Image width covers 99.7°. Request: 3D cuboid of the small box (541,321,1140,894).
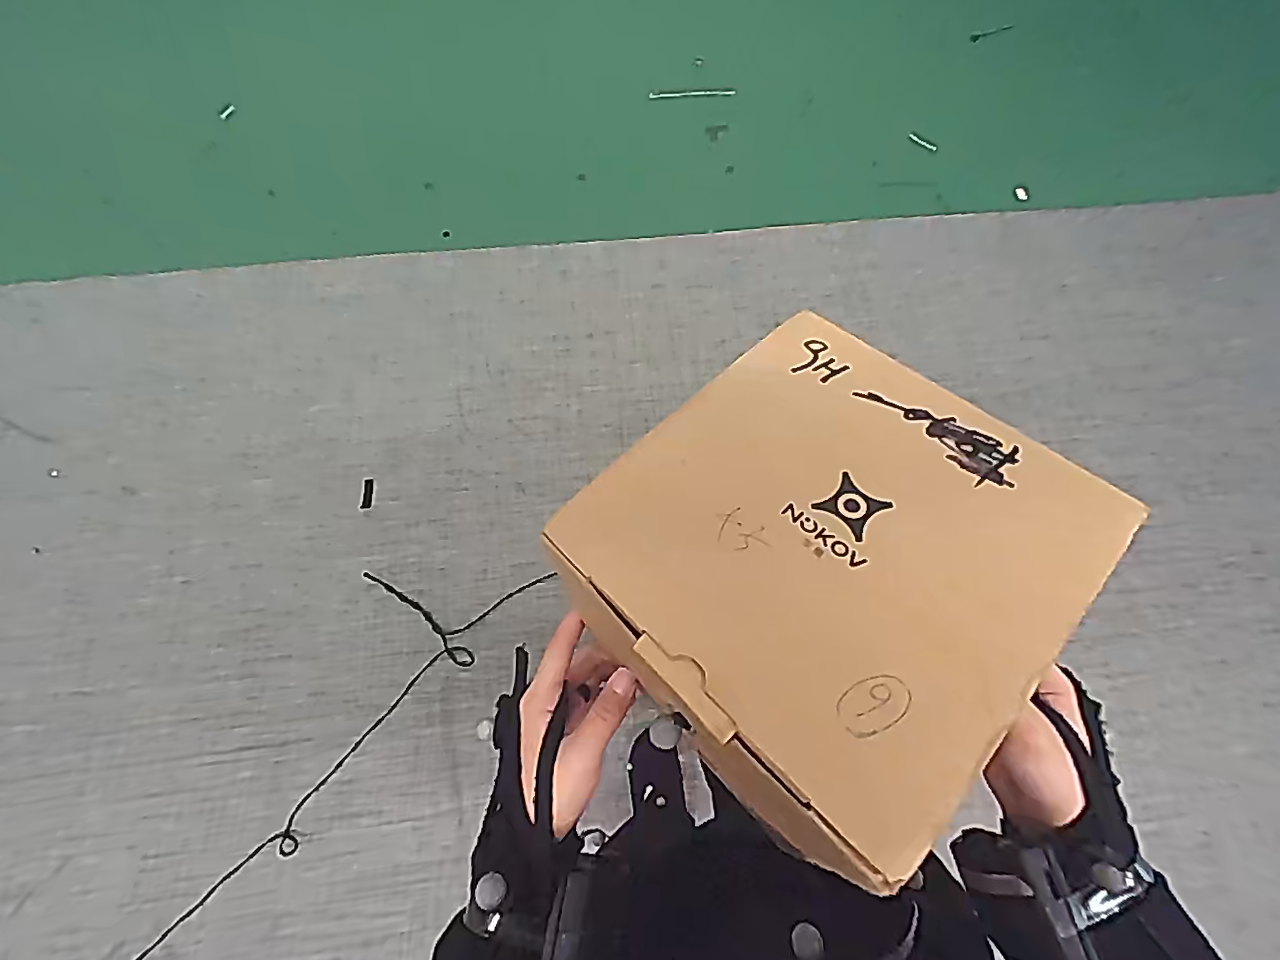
[{"bbox_3d":[0.081,0.061,0.281,0.179,0.176,0.168,-41,64,-18],"label":"small box"}]
